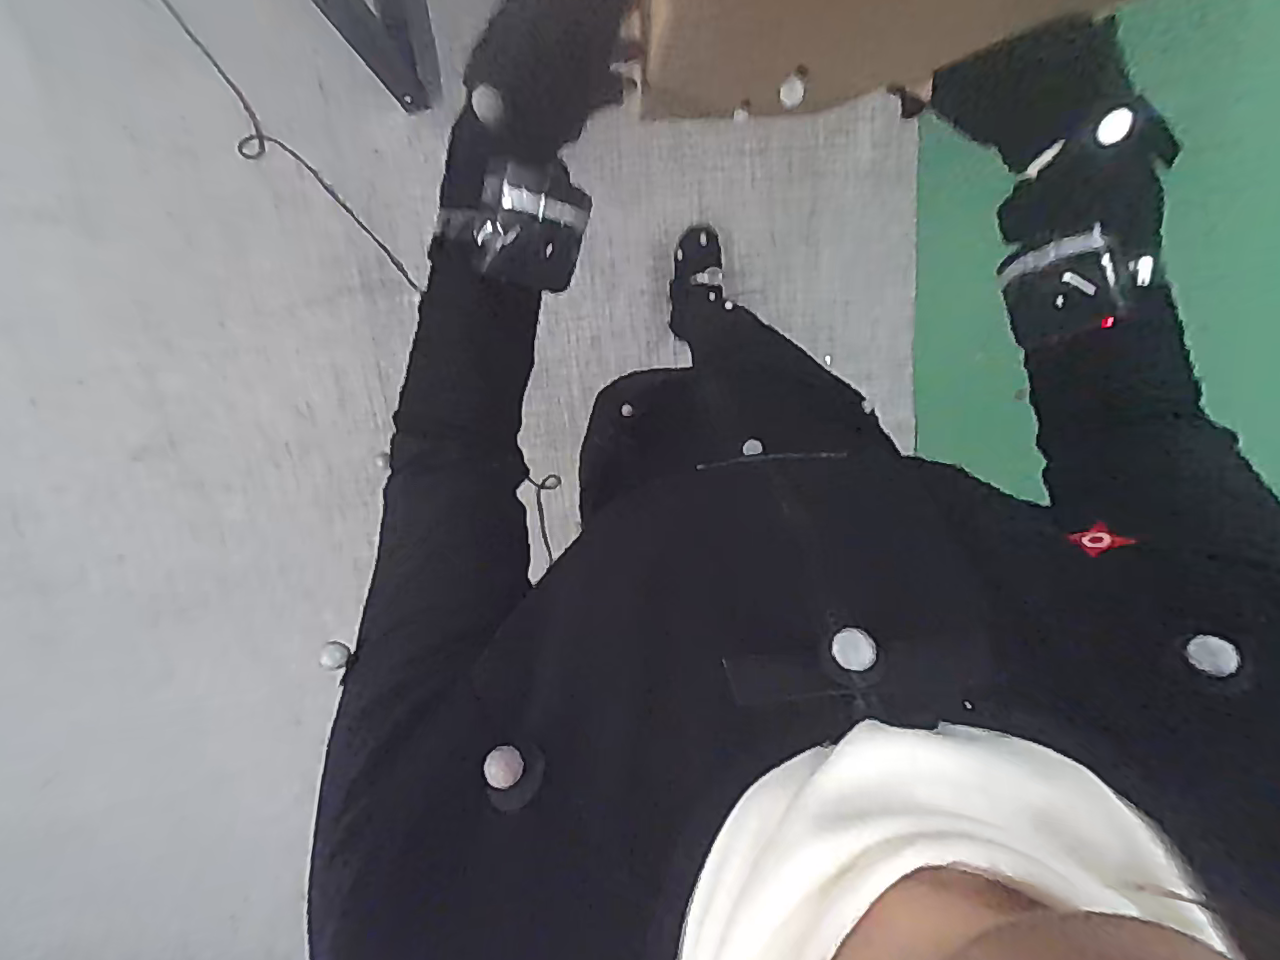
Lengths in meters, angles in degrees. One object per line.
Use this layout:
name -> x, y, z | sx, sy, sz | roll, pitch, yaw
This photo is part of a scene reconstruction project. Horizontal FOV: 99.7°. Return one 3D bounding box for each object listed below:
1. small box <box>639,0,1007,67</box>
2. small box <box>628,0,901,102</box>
small box -> 0.088, -0.309, 0.247 | 0.179, 0.176, 0.168 | -4, 119, 0
small box -> 0.080, -0.386, 0.389 | 0.179, 0.176, 0.168 | -3, 117, -1
